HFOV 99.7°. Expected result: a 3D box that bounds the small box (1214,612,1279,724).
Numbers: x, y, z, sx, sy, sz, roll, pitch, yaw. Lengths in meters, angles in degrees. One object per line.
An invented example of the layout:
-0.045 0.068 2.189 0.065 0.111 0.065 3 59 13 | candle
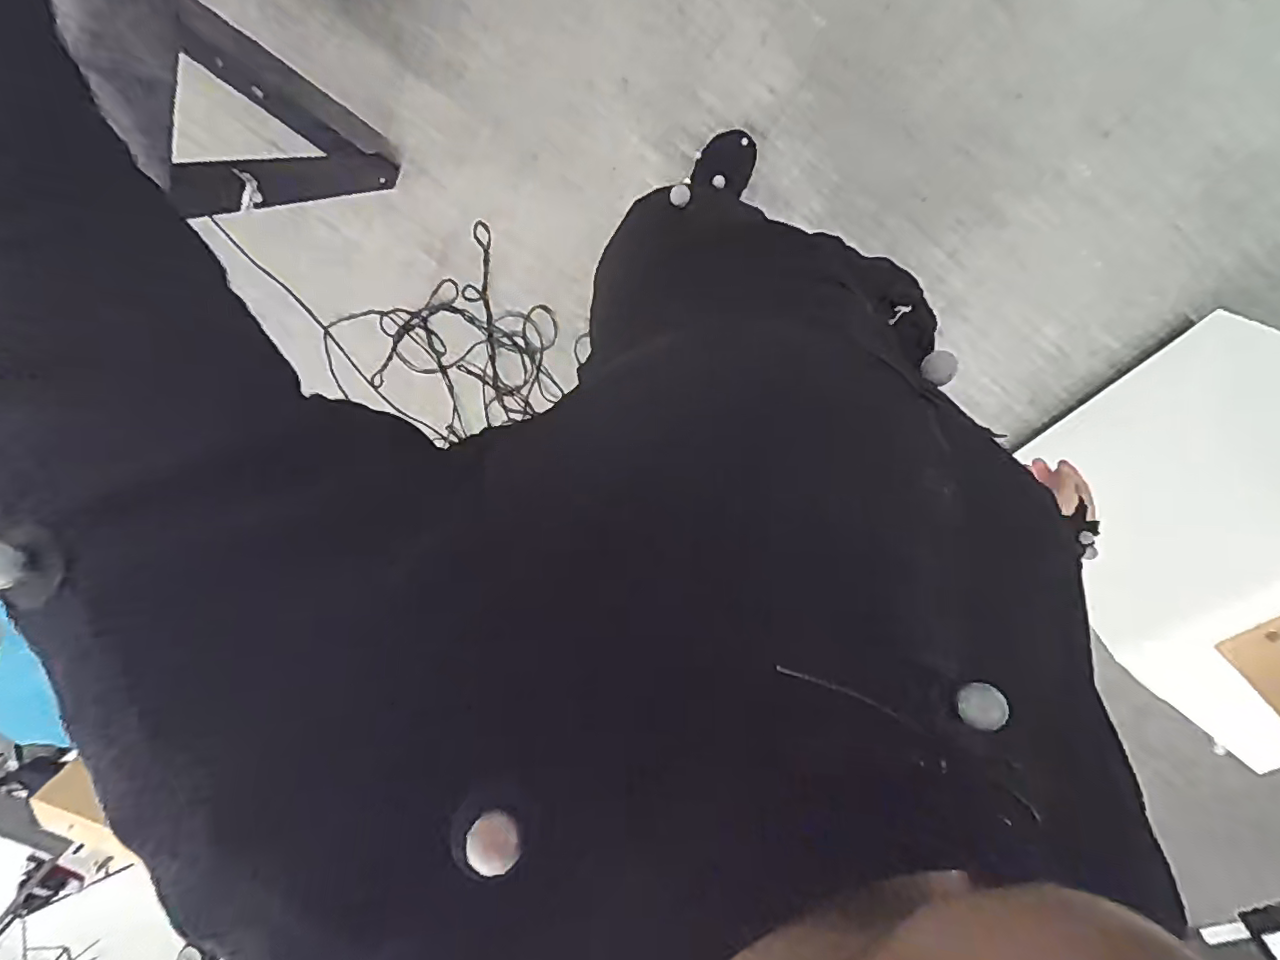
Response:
0.946 0.280 0.711 0.179 0.176 0.168 33 122 -11 | small box
